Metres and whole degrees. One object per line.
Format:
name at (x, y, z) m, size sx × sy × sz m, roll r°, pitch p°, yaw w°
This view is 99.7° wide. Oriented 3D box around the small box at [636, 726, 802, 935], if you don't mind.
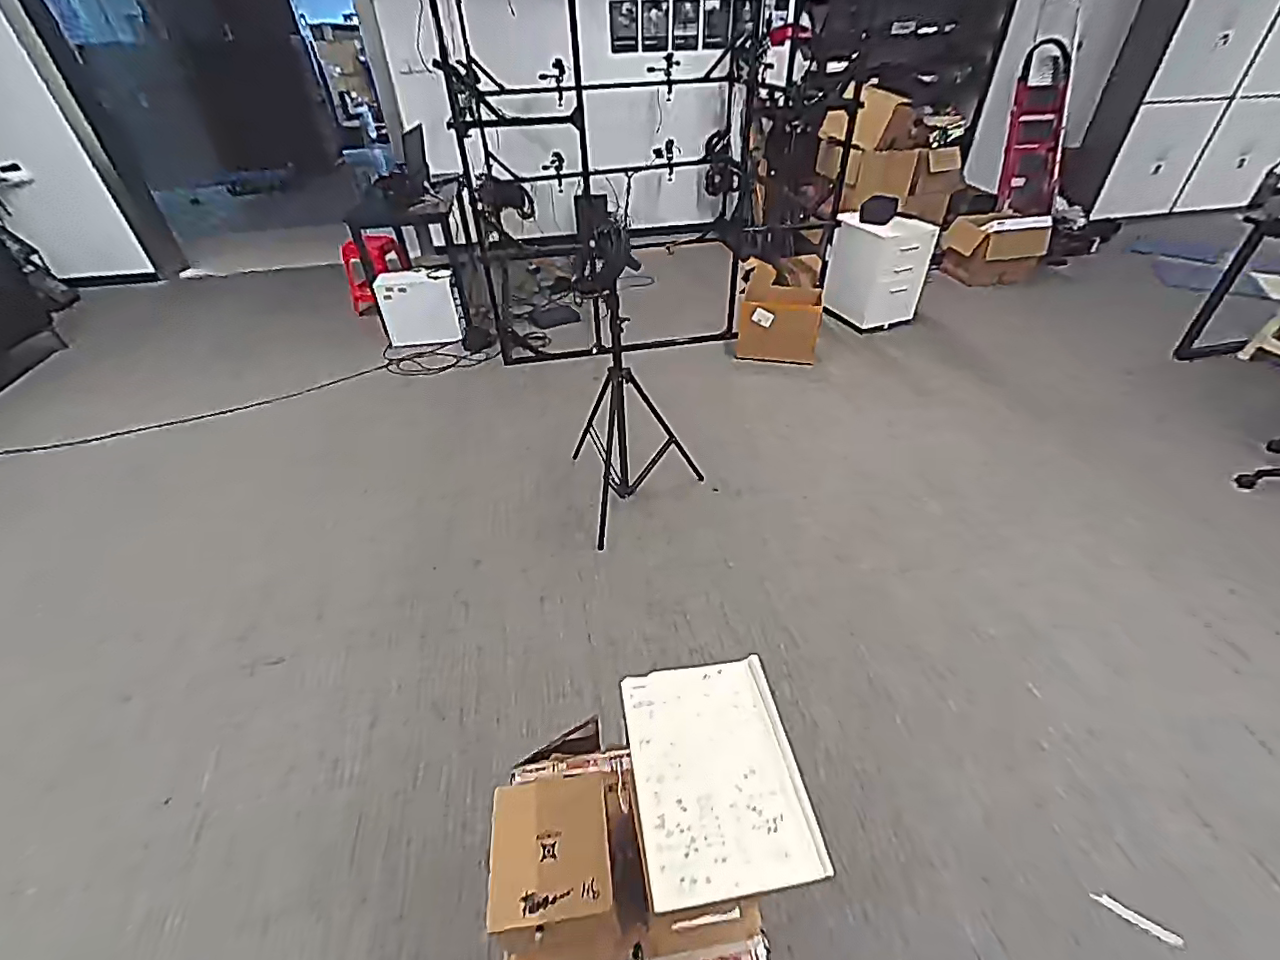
small box at (0.087, 0.454, 0.707) m, size 0.168 × 0.176 × 0.179 m, roll -6°, pitch 41°, yaw -7°
